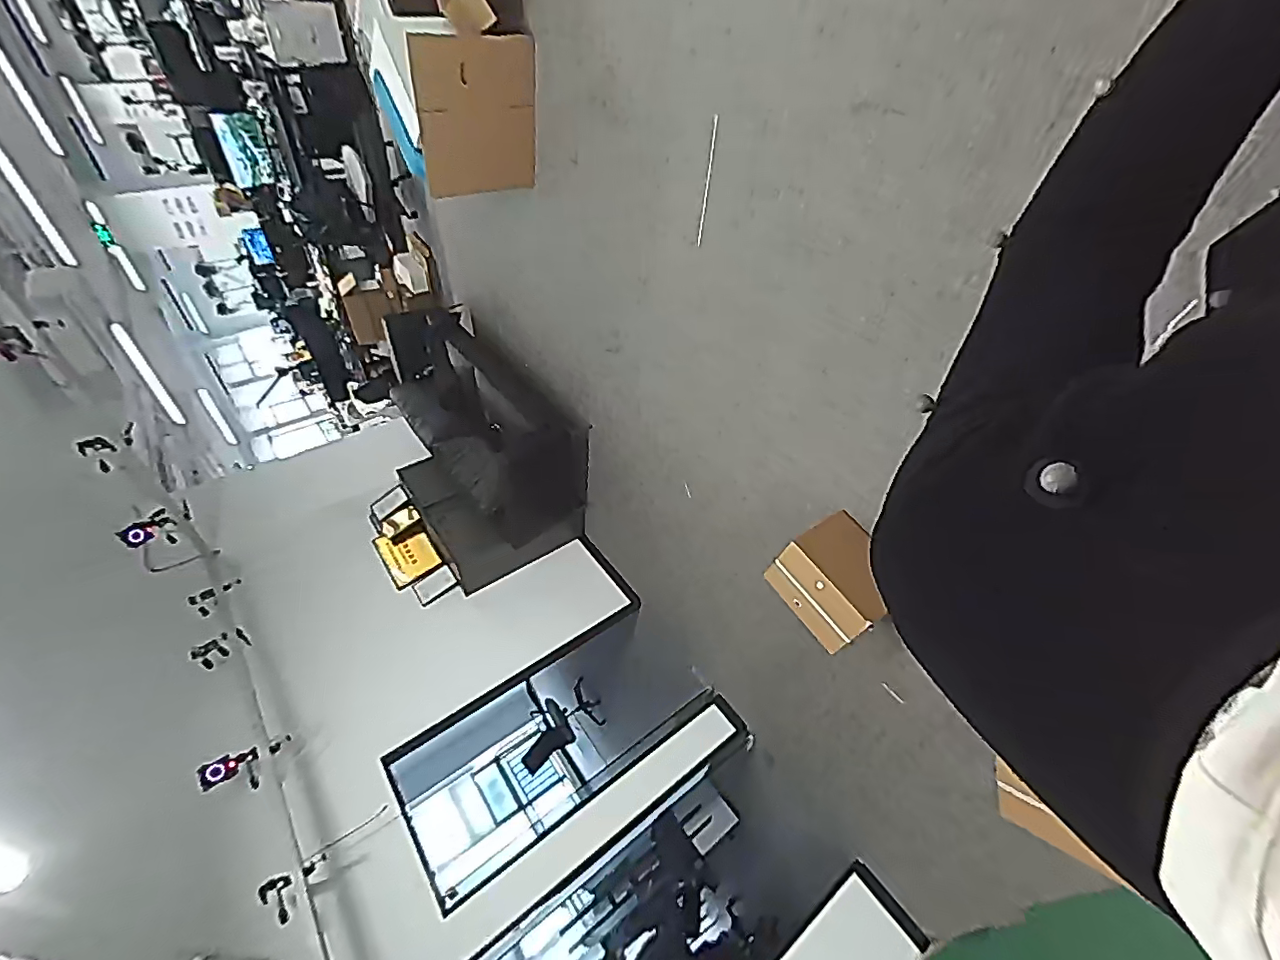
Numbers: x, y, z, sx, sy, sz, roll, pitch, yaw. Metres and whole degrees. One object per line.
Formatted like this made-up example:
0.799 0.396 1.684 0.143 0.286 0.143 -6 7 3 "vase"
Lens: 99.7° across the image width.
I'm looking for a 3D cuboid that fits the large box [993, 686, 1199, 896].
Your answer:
1.365 0.901 1.636 0.408 0.320 0.320 11 123 55 "large box"
